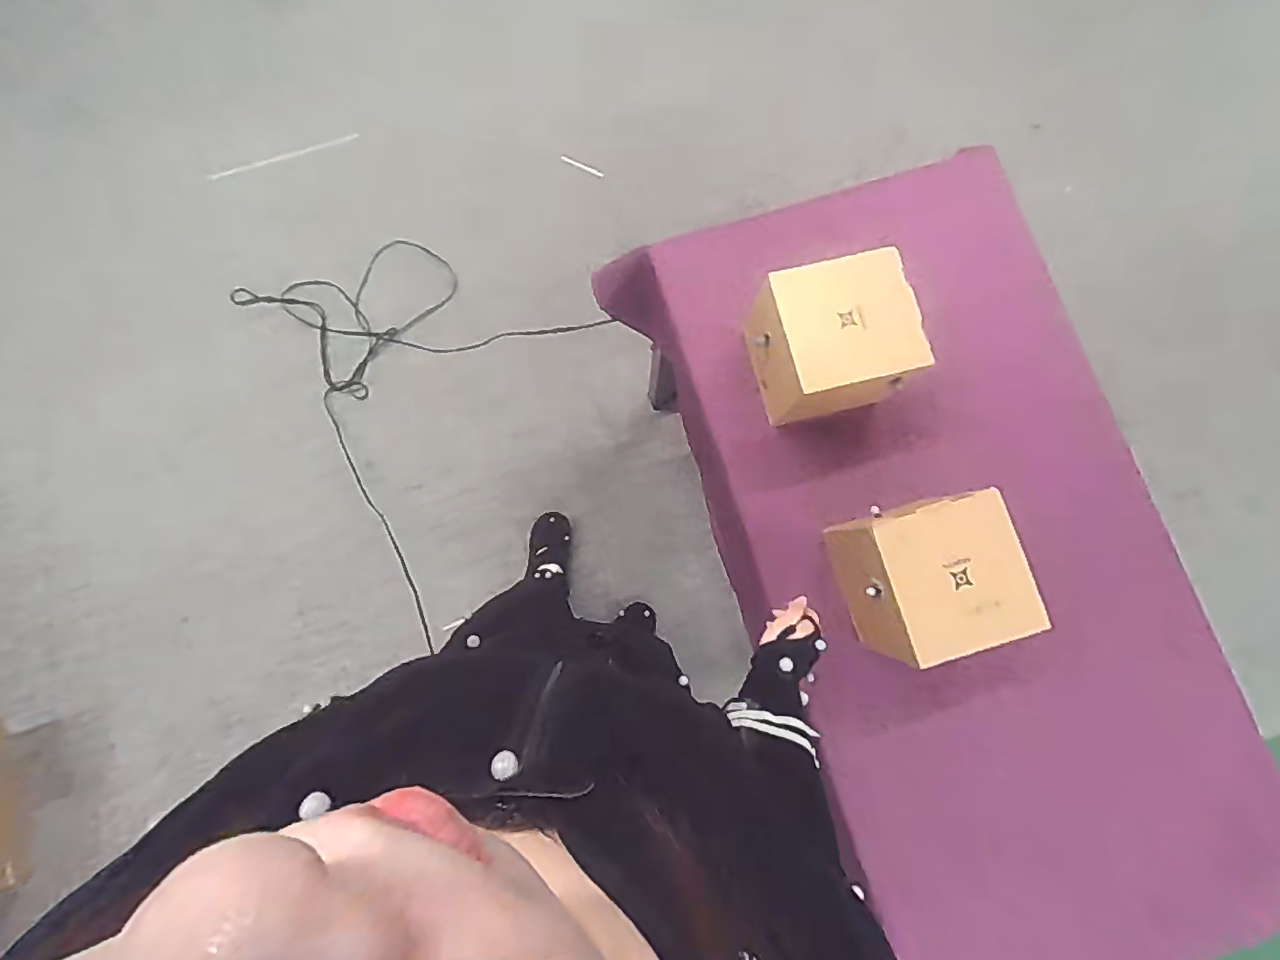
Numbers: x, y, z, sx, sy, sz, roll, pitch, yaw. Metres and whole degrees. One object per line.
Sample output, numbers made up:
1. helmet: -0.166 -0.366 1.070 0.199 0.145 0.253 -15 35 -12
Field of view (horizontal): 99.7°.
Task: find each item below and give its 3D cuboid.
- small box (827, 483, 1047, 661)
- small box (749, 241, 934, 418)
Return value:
1. small box: 0.370 0.117 0.711 0.168 0.176 0.179 -15 83 -2
2. small box: 0.261 -0.197 0.753 0.179 0.176 0.168 -13 83 -4
